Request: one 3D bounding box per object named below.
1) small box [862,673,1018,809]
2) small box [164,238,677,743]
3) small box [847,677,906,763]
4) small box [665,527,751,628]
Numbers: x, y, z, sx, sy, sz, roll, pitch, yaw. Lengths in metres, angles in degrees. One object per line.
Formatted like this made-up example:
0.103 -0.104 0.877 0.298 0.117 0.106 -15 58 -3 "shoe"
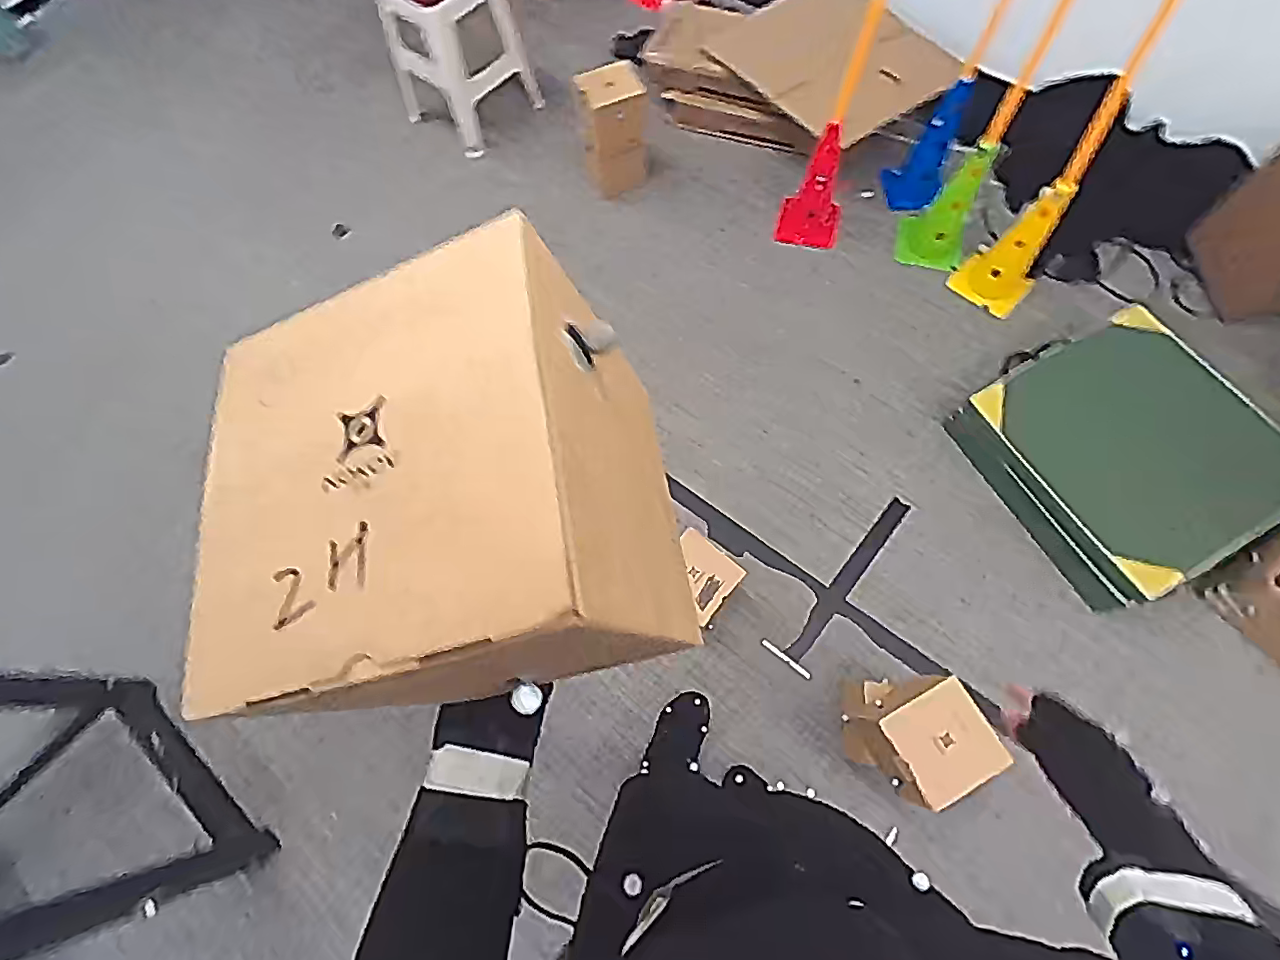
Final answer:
0.551 0.487 1.031 0.179 0.176 0.168 -26 71 -7 "small box"
-0.092 0.021 0.285 0.168 0.176 0.179 -17 70 17 "small box"
0.565 0.533 1.190 0.179 0.176 0.168 5 69 5 "small box"
0.147 0.246 1.326 0.179 0.176 0.168 39 76 18 "small box"
